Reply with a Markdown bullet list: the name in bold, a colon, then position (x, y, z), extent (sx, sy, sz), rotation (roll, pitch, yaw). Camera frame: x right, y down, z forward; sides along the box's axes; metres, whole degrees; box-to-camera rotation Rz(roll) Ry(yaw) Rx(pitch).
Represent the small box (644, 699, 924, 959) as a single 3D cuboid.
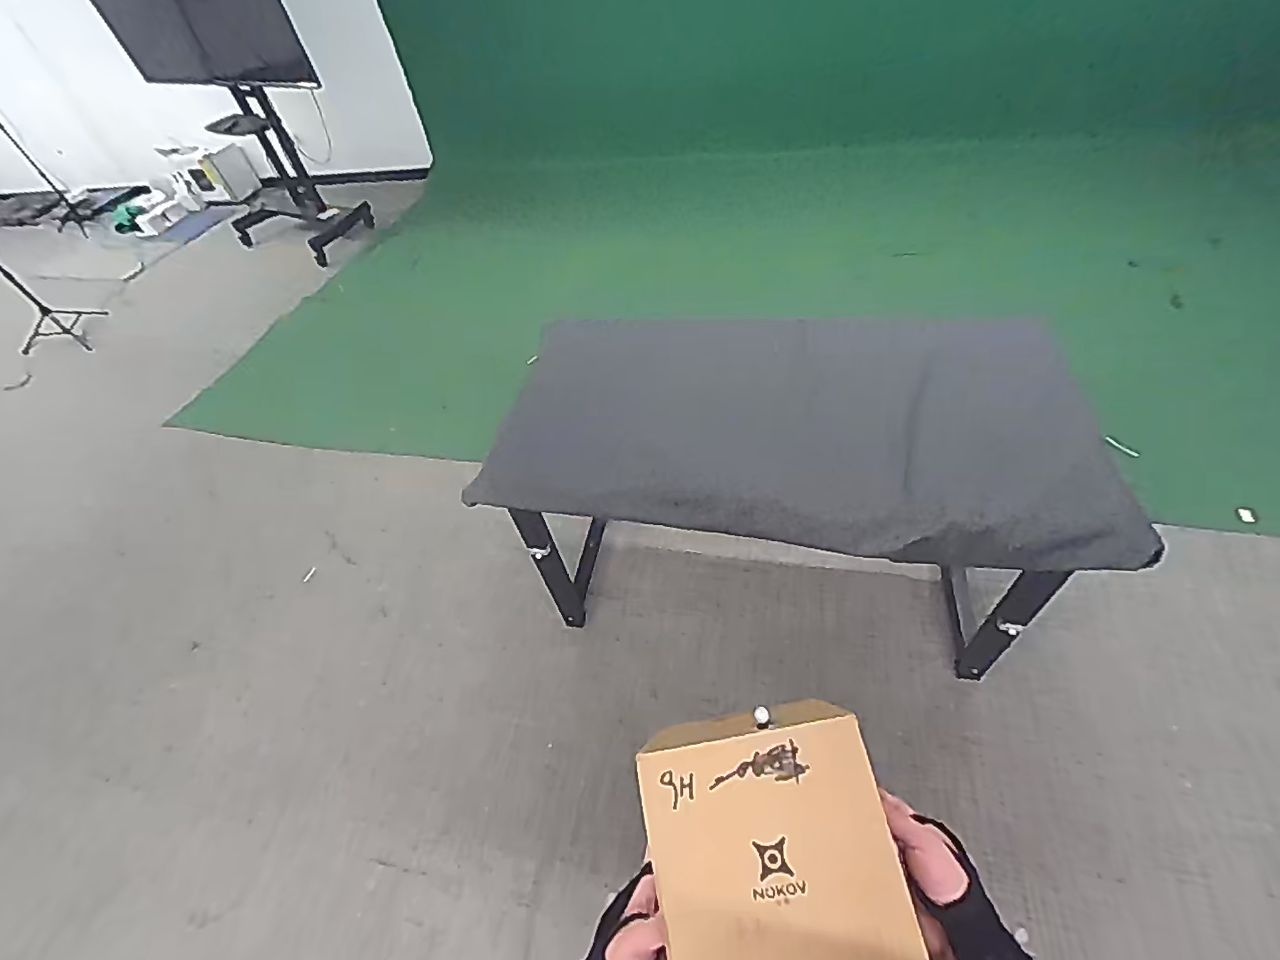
- **small box**: position (0.108, 0.295, 0.453), extent (0.168, 0.176, 0.179), rotation (-12, 71, 4)
